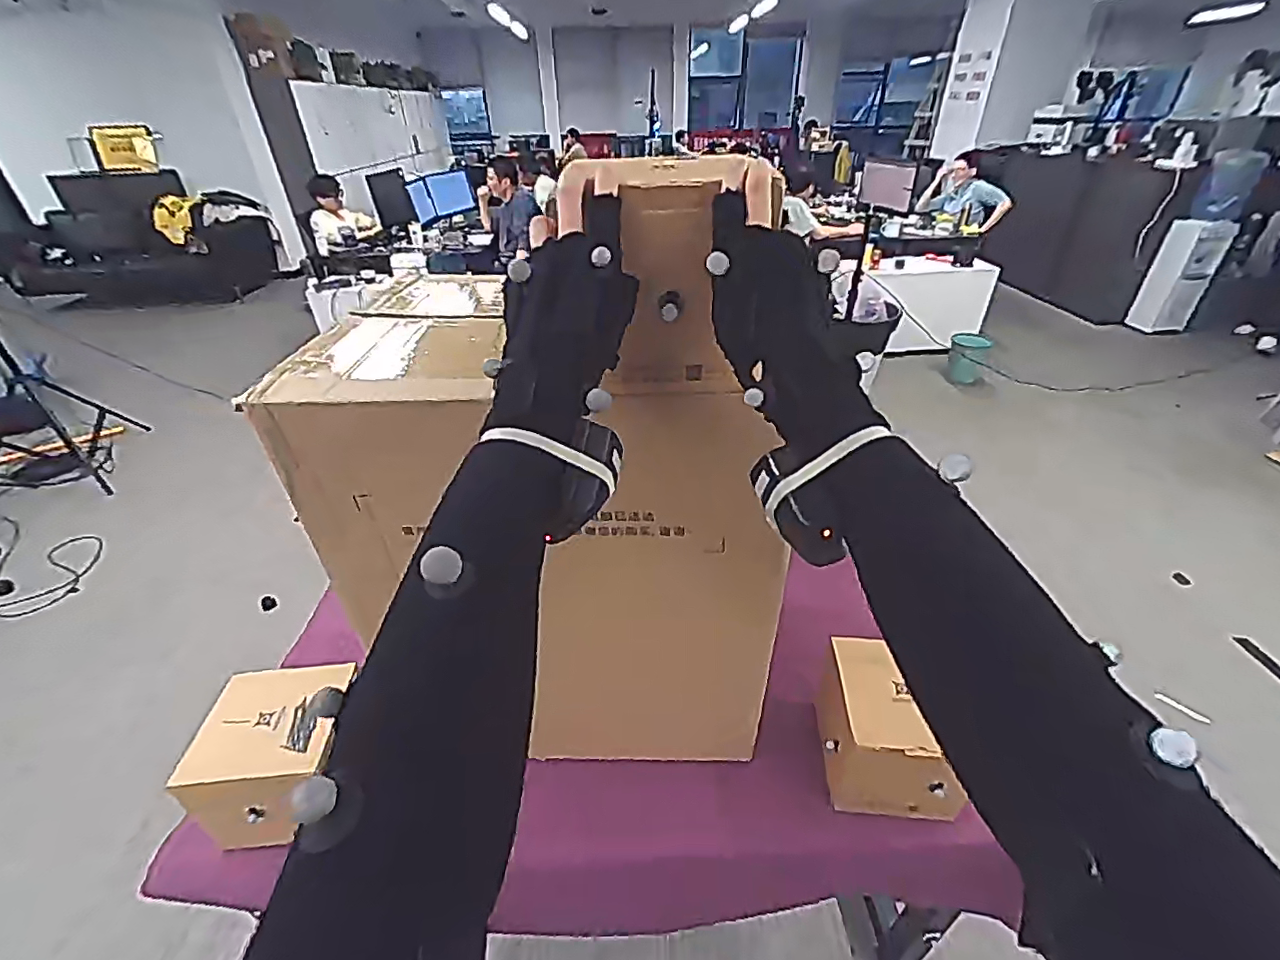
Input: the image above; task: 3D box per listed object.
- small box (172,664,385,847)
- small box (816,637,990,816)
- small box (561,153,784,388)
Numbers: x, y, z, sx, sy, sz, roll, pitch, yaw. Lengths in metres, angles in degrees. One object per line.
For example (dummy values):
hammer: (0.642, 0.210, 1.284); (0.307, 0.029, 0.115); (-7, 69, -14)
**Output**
small box: (-0.486, 0.387, 0.766); (0.179, 0.176, 0.168); (-4, 33, -5)
small box: (0.364, 0.356, 0.785); (0.168, 0.176, 0.179); (3, 33, 5)
small box: (0.025, -0.192, 0.501); (0.168, 0.176, 0.179); (-3, 36, -1)
